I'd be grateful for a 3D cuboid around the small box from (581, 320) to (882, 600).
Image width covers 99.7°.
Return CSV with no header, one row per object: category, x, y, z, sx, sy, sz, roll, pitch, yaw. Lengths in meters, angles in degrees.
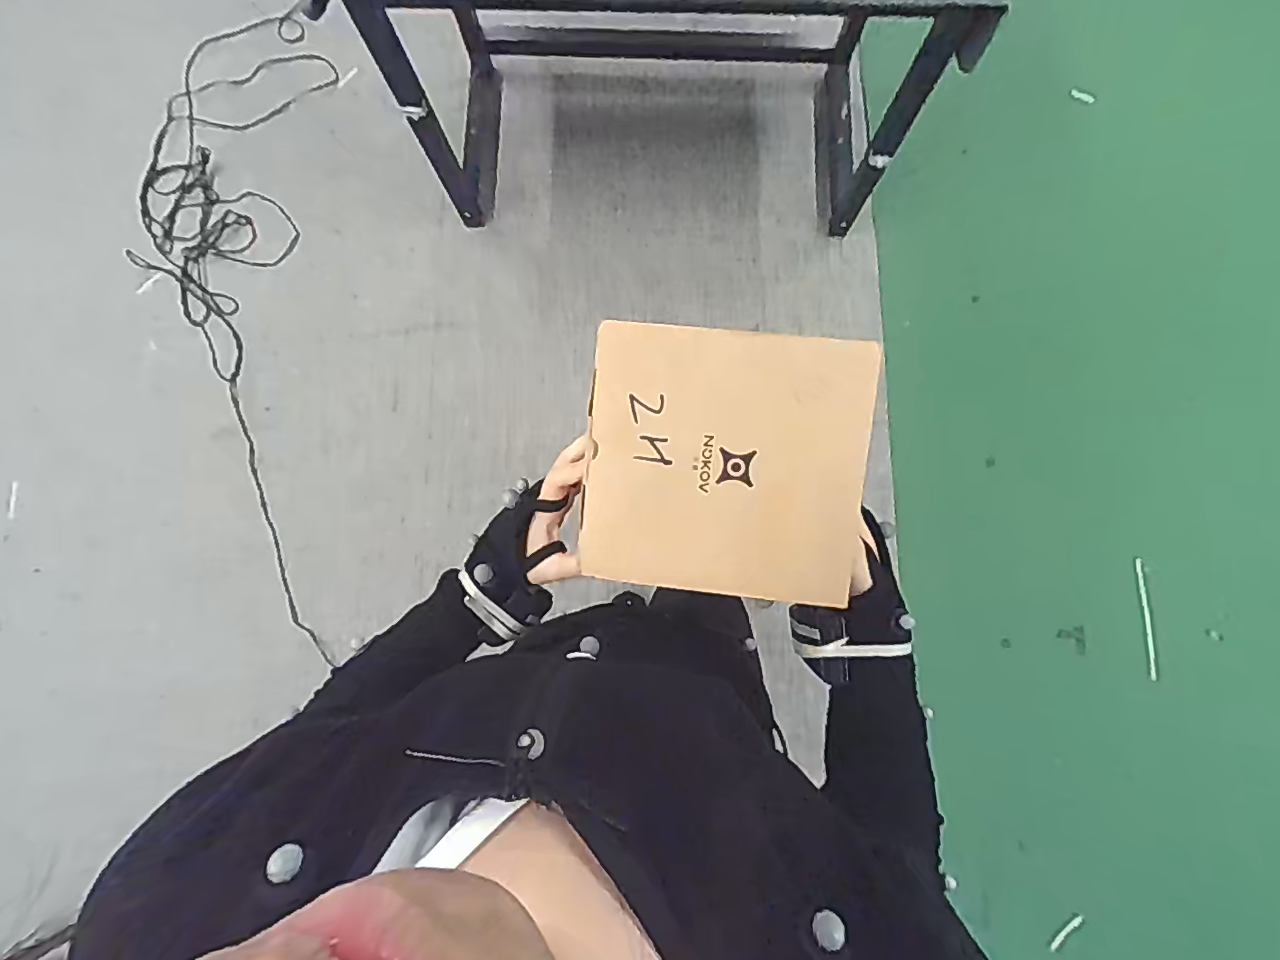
small box,0.061,-0.019,0.424,0.179,0.176,0.168,6,95,4
